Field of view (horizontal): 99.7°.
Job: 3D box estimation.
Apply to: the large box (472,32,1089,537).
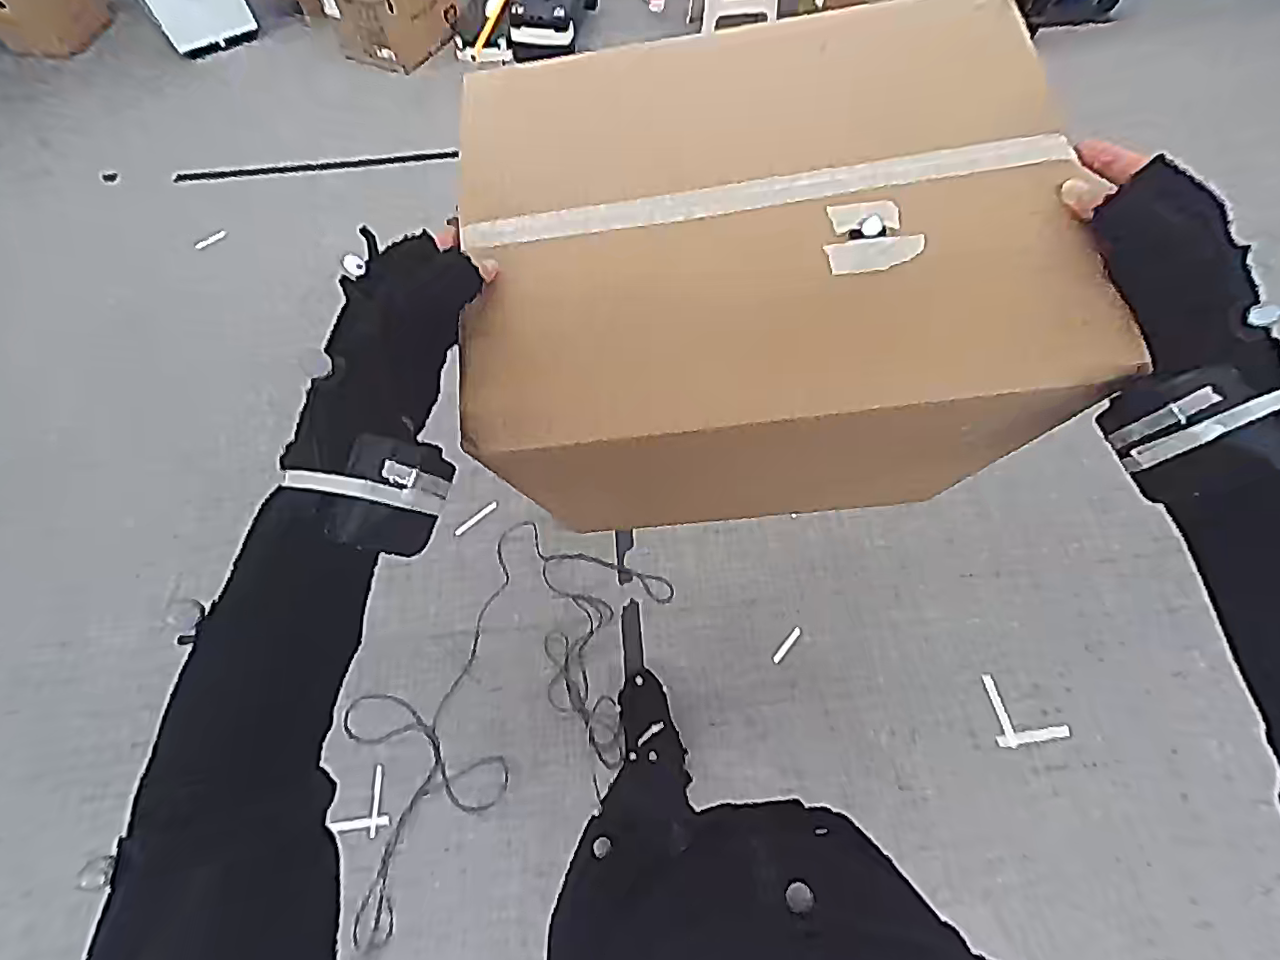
[{"bbox_3d":[0.085,-0.140,0.534,0.408,0.320,0.320,-7,74,4],"label":"large box"}]
